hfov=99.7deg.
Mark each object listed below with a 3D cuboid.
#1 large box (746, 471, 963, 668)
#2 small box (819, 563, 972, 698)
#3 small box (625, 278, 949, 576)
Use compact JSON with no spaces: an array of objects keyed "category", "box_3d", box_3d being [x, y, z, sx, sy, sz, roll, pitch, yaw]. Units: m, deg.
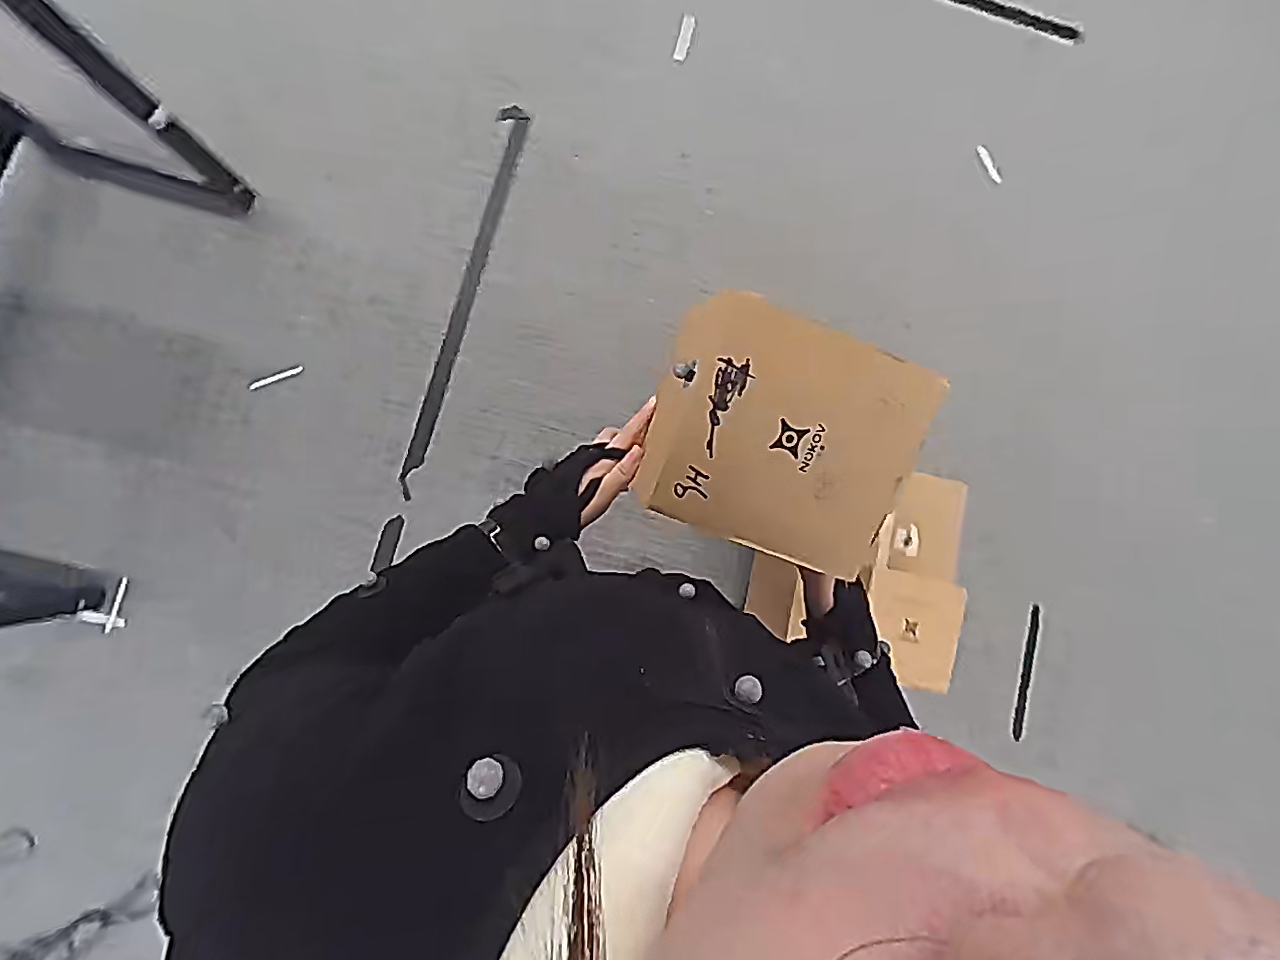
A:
[{"category":"large box","box_3d":[0.448,0.185,1.196,0.320,0.320,0.408,12,84,-4]},{"category":"small box","box_3d":[0.432,0.250,0.942,0.168,0.176,0.179,16,84,-3]},{"category":"small box","box_3d":[0.100,-0.046,0.454,0.179,0.176,0.168,20,98,-10]}]
